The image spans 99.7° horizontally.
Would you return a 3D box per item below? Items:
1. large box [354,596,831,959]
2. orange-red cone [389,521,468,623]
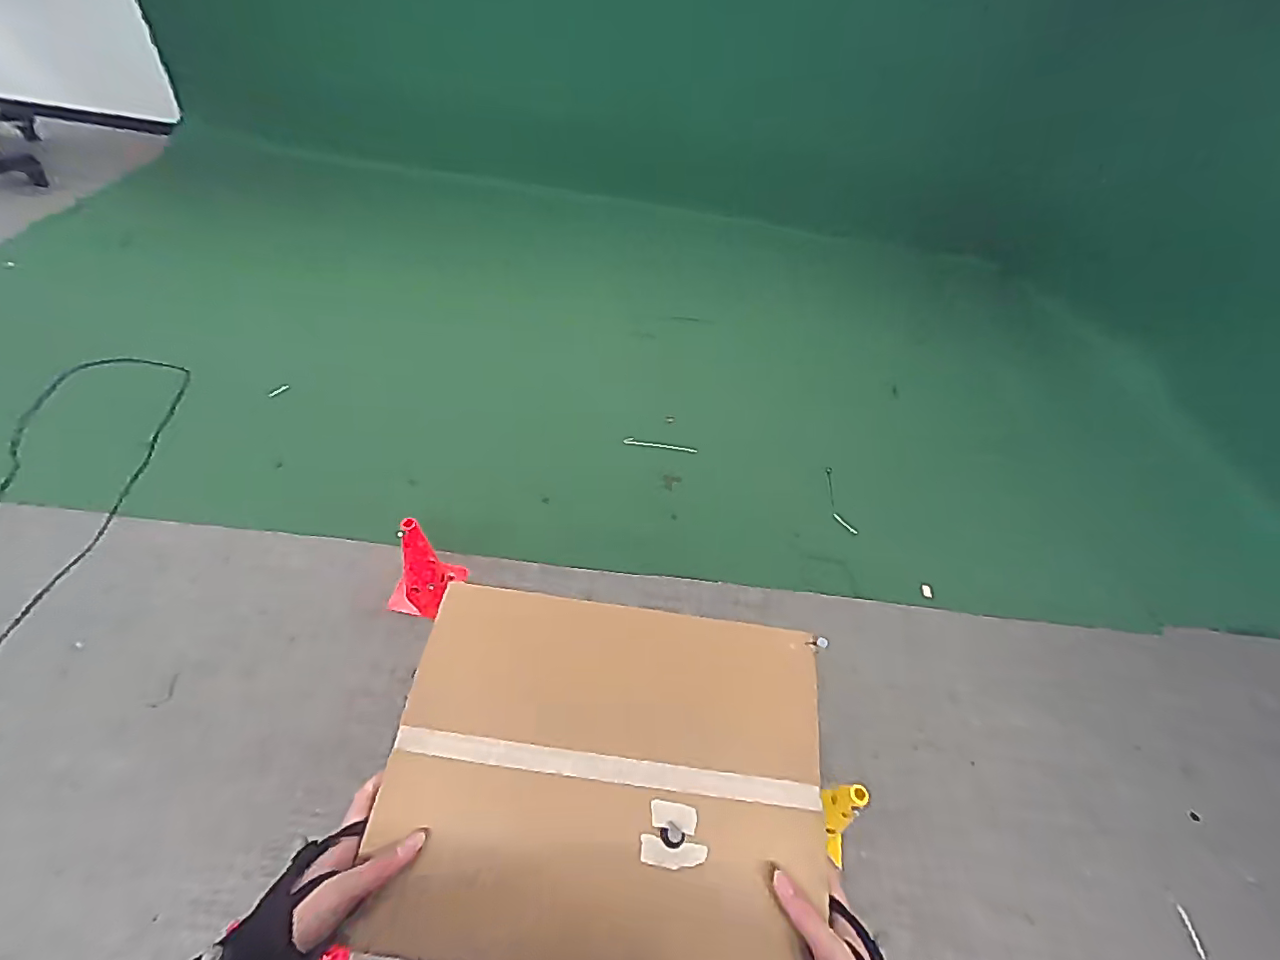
[{"bbox_3d":[-0.034,0.357,0.644,0.408,0.320,0.320,7,59,1],"label":"large box"},{"bbox_3d":[-0.663,0.248,1.625,0.199,0.360,0.198,12,47,3],"label":"orange-red cone"}]
